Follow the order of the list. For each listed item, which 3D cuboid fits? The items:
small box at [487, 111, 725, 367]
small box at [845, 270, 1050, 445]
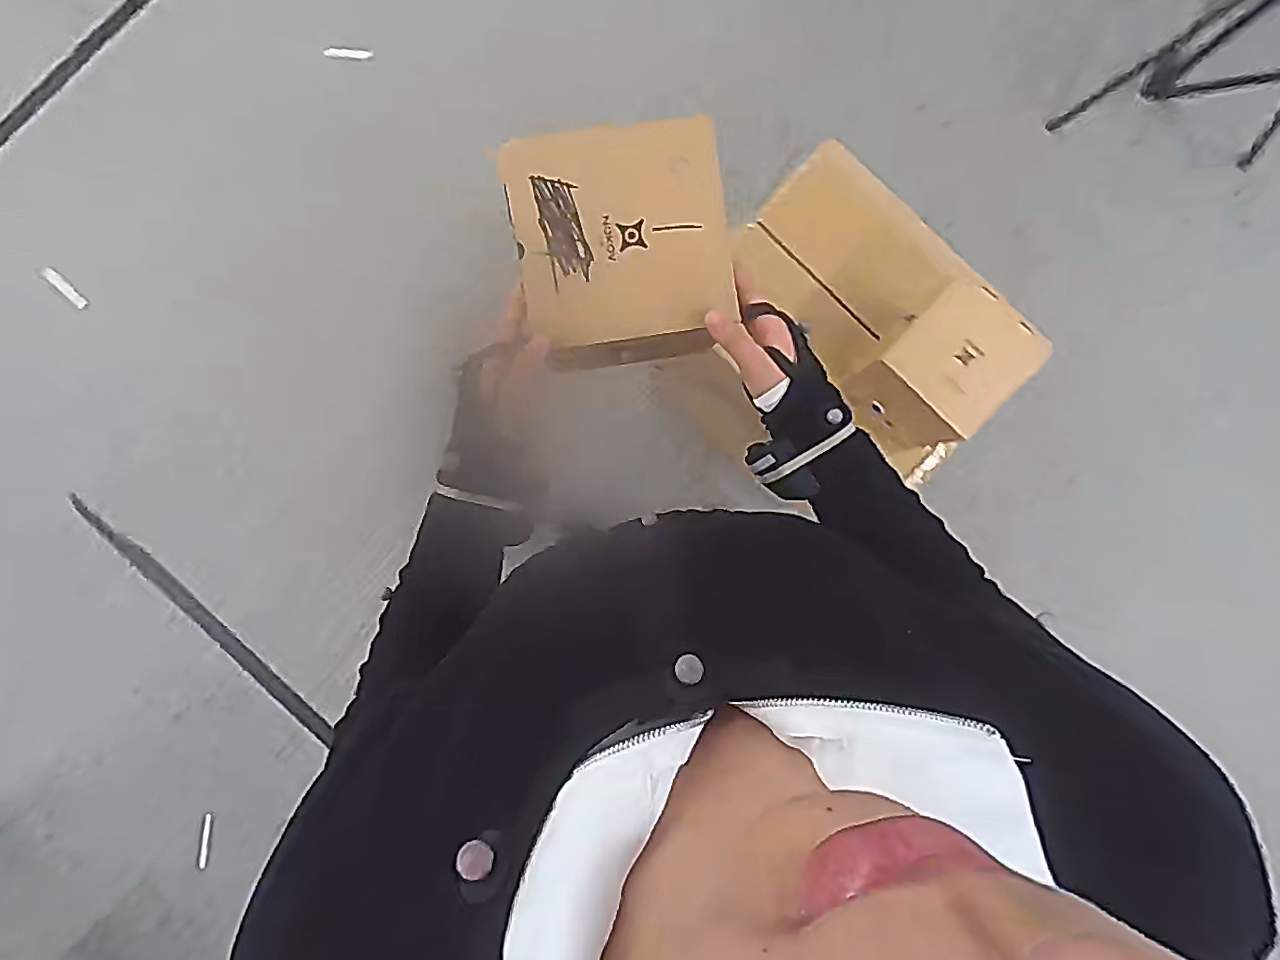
[{"bbox_3d":[-0.029,-0.210,0.518,0.179,0.176,0.168,-10,95,-2],"label":"small box"},{"bbox_3d":[0.448,-0.173,0.822,0.168,0.176,0.179,44,90,2],"label":"small box"}]
